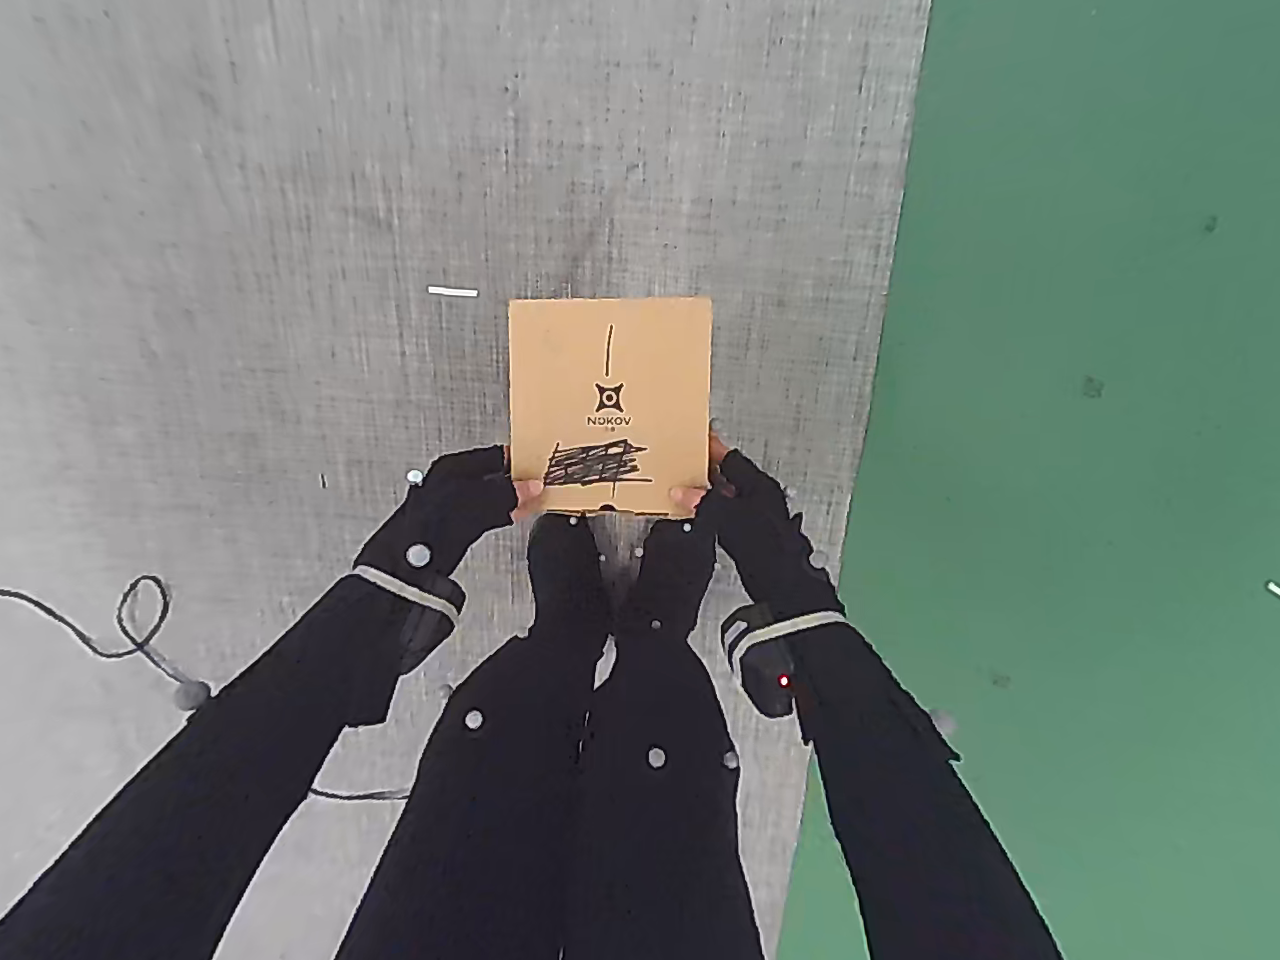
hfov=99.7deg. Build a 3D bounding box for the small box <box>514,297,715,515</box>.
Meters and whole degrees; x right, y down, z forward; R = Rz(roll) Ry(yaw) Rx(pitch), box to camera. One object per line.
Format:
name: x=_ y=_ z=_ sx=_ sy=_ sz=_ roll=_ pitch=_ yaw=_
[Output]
small box: x=-0.014 y=-0.070 z=0.520 sx=0.168 sy=0.176 sz=0.179 roll=2 pitch=97 yaw=6
